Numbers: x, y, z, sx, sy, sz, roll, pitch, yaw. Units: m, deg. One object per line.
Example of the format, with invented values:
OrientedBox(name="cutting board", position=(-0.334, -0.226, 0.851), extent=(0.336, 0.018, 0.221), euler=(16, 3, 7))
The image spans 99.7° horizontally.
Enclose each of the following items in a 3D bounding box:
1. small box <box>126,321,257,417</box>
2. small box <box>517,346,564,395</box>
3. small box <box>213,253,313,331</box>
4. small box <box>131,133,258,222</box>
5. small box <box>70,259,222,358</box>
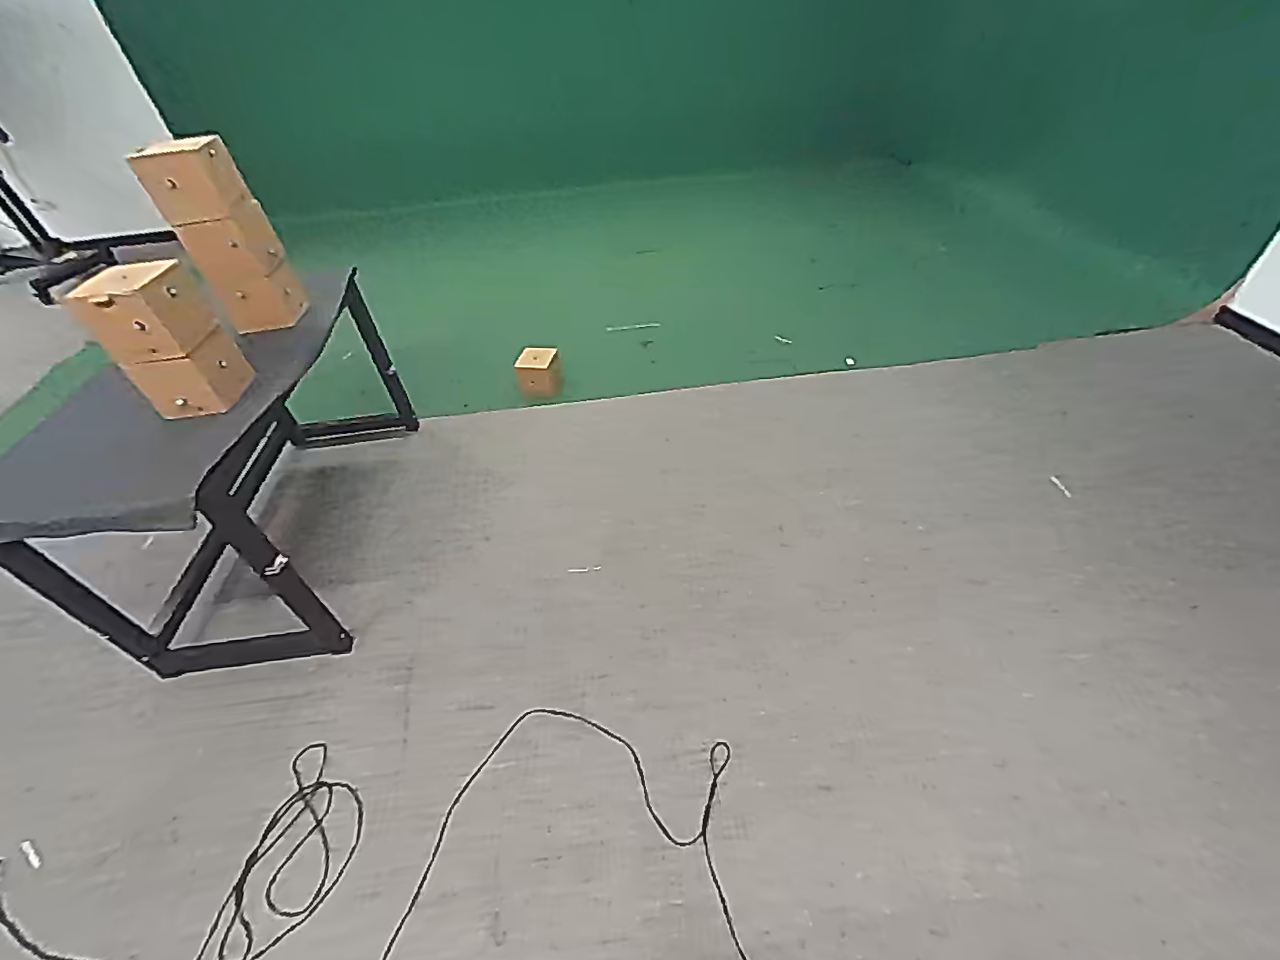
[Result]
OrientedBox(name="small box", position=(-1.137, -0.285, 1.392), extent=(0.168, 0.176, 0.179), euler=(-7, 45, 0))
OrientedBox(name="small box", position=(-0.476, -0.529, 2.620), extent=(0.168, 0.176, 0.179), euler=(6, 45, 10))
OrientedBox(name="small box", position=(-1.179, -0.593, 1.712), extent=(0.179, 0.176, 0.168), euler=(-8, 44, 0))
OrientedBox(name="small box", position=(-1.207, -0.825, 1.481), extent=(0.179, 0.176, 0.168), euler=(-10, 45, -2))
OrientedBox(name="small box", position=(-1.147, -0.399, 1.277), extent=(0.168, 0.176, 0.179), euler=(-5, 43, 0))
